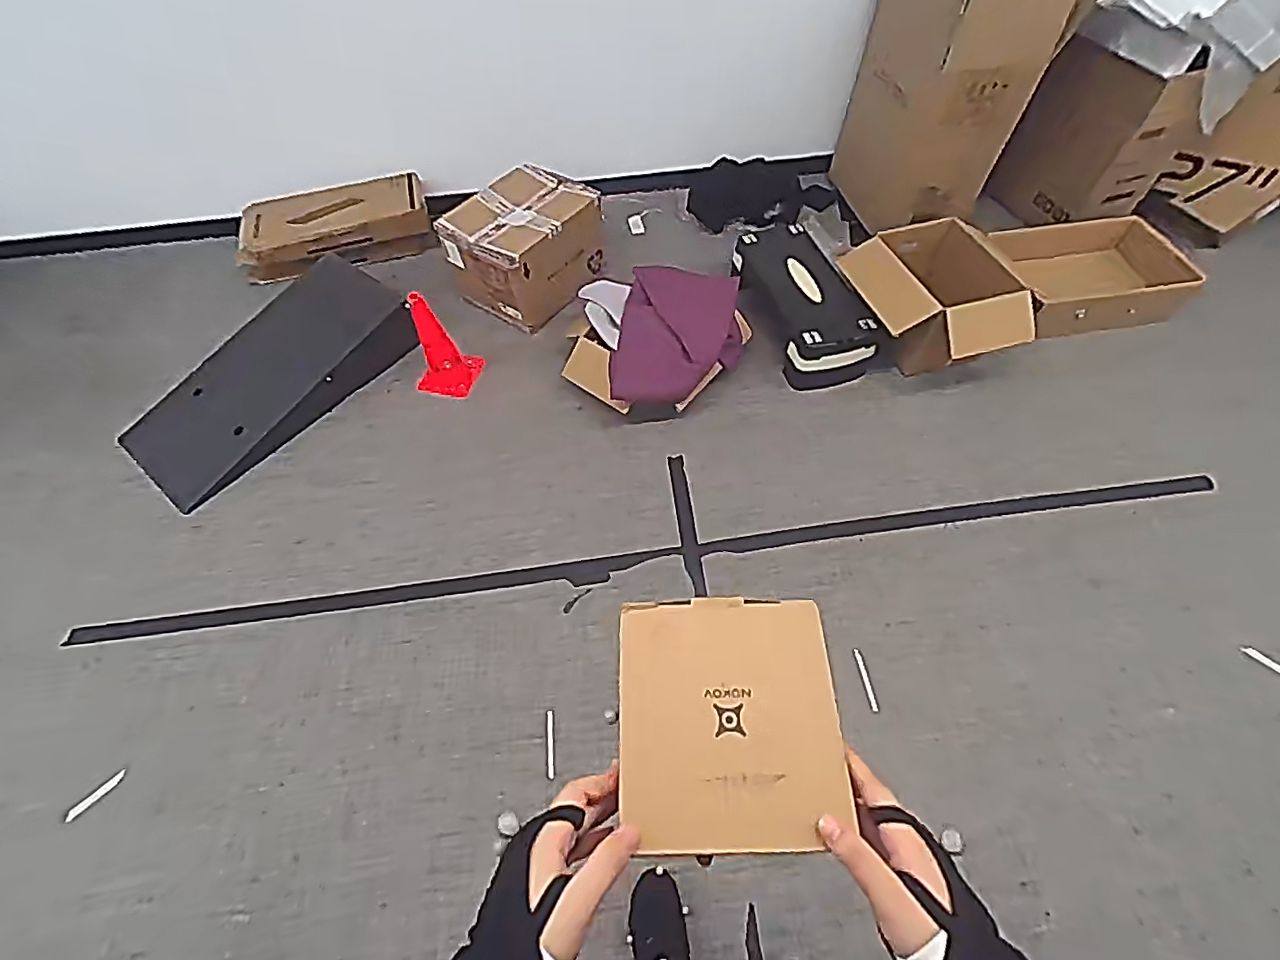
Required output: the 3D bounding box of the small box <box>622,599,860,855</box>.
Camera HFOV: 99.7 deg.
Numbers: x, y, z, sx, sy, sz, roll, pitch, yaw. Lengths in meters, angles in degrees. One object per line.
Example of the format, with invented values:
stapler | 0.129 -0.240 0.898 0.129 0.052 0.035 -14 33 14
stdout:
small box | 0.067 0.214 0.476 0.168 0.176 0.179 -1 62 0
